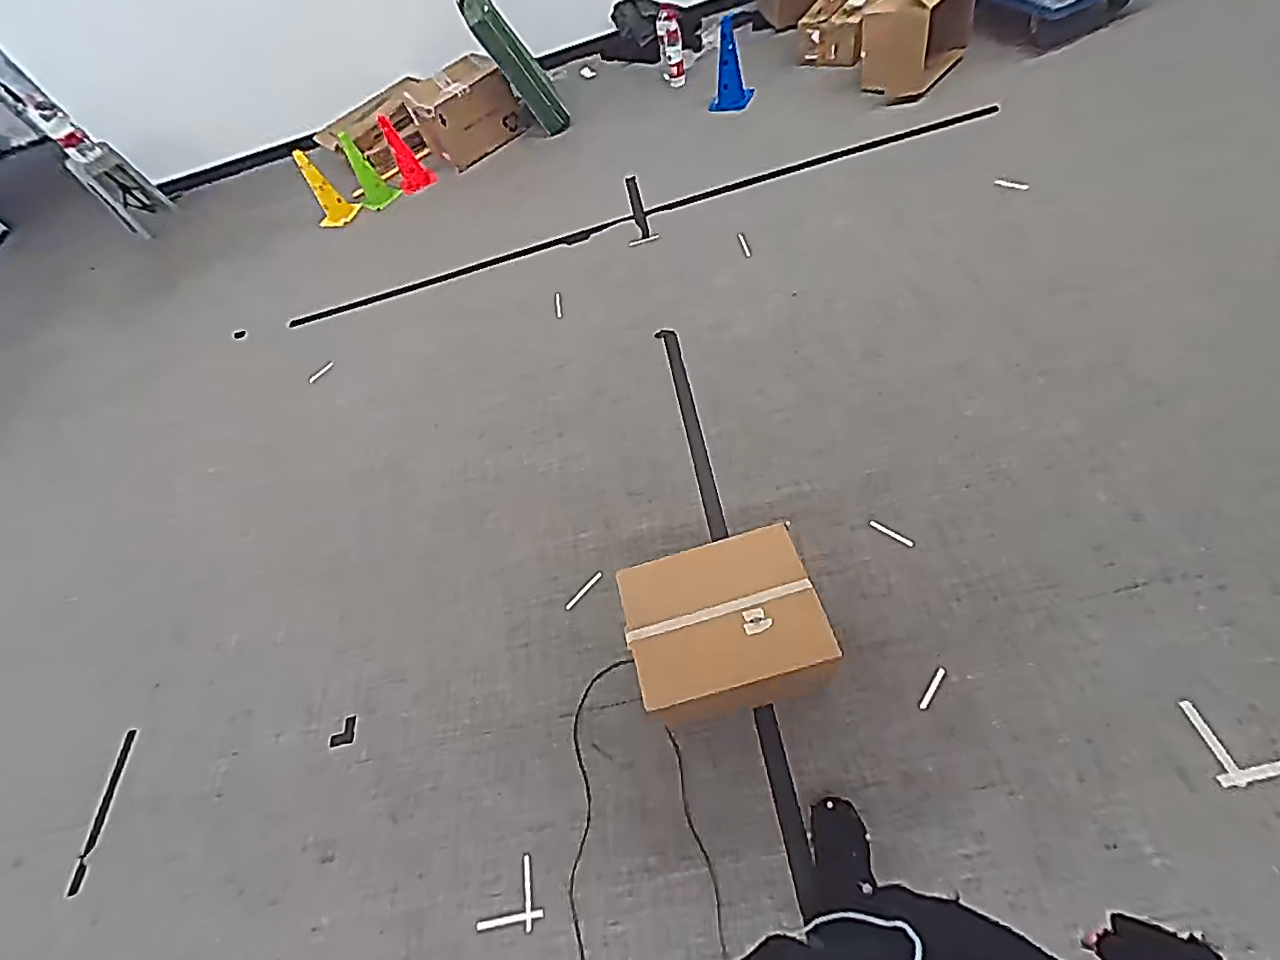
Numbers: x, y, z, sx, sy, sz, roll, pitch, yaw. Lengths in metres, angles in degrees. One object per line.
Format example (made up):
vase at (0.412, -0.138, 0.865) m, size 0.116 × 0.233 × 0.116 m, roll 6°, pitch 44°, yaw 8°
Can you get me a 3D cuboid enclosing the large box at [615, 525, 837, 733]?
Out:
large box at (0.192, 0.360, 1.268) m, size 0.408 × 0.320 × 0.320 m, roll -17°, pitch 57°, yaw 2°
